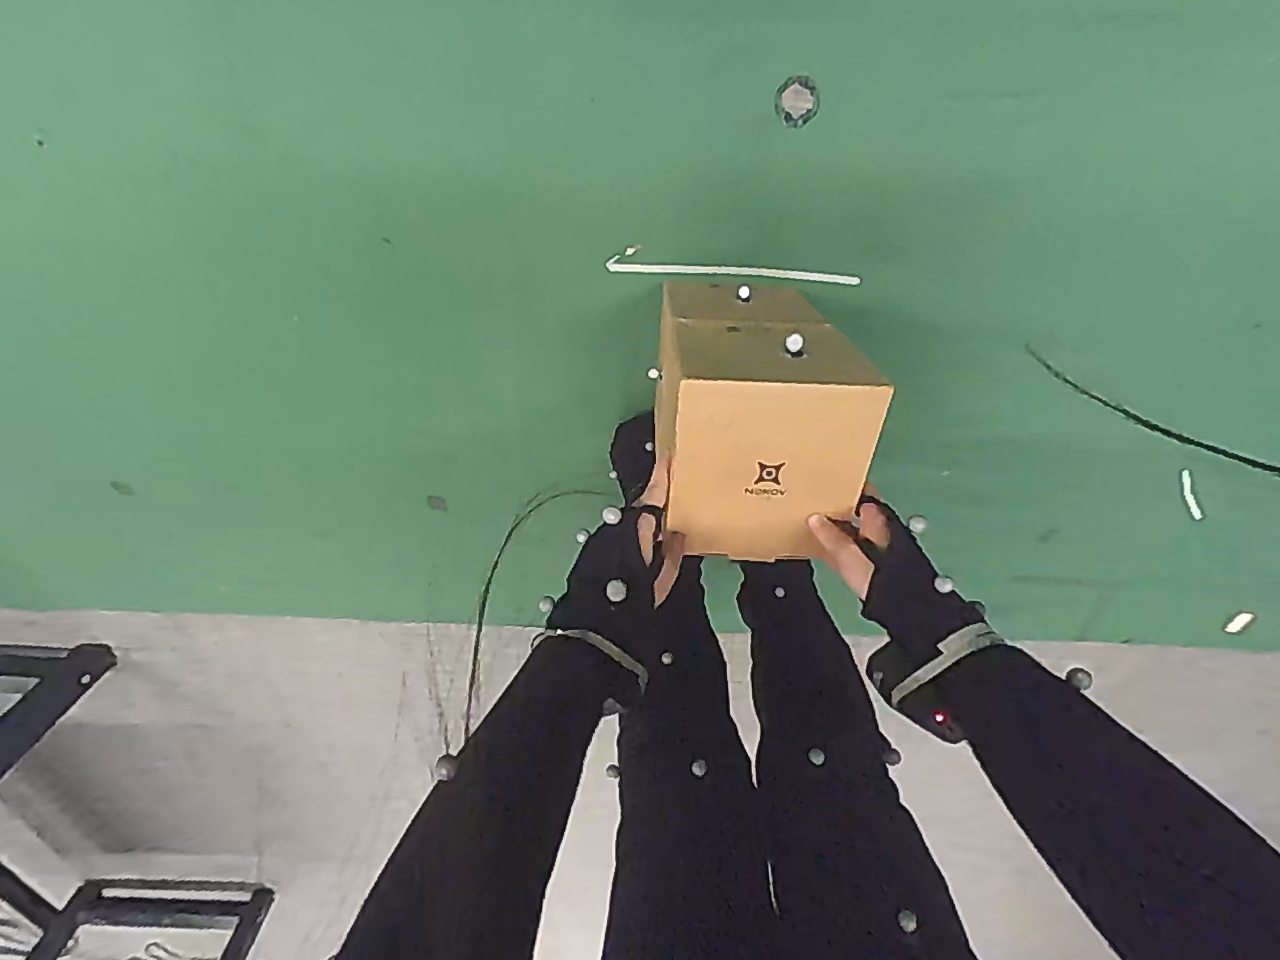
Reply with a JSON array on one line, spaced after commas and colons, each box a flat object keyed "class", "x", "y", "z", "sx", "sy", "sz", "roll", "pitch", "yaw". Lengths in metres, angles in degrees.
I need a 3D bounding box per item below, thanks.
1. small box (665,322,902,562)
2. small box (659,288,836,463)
[{"class": "small box", "x": 0.114, "y": -0.043, "z": 0.518, "sx": 0.168, "sy": 0.176, "sz": 0.179, "roll": 3, "pitch": 122, "yaw": -2}, {"class": "small box", "x": 0.113, "y": -0.126, "z": 0.657, "sx": 0.168, "sy": 0.176, "sz": 0.179, "roll": 4, "pitch": 121, "yaw": -2}]
